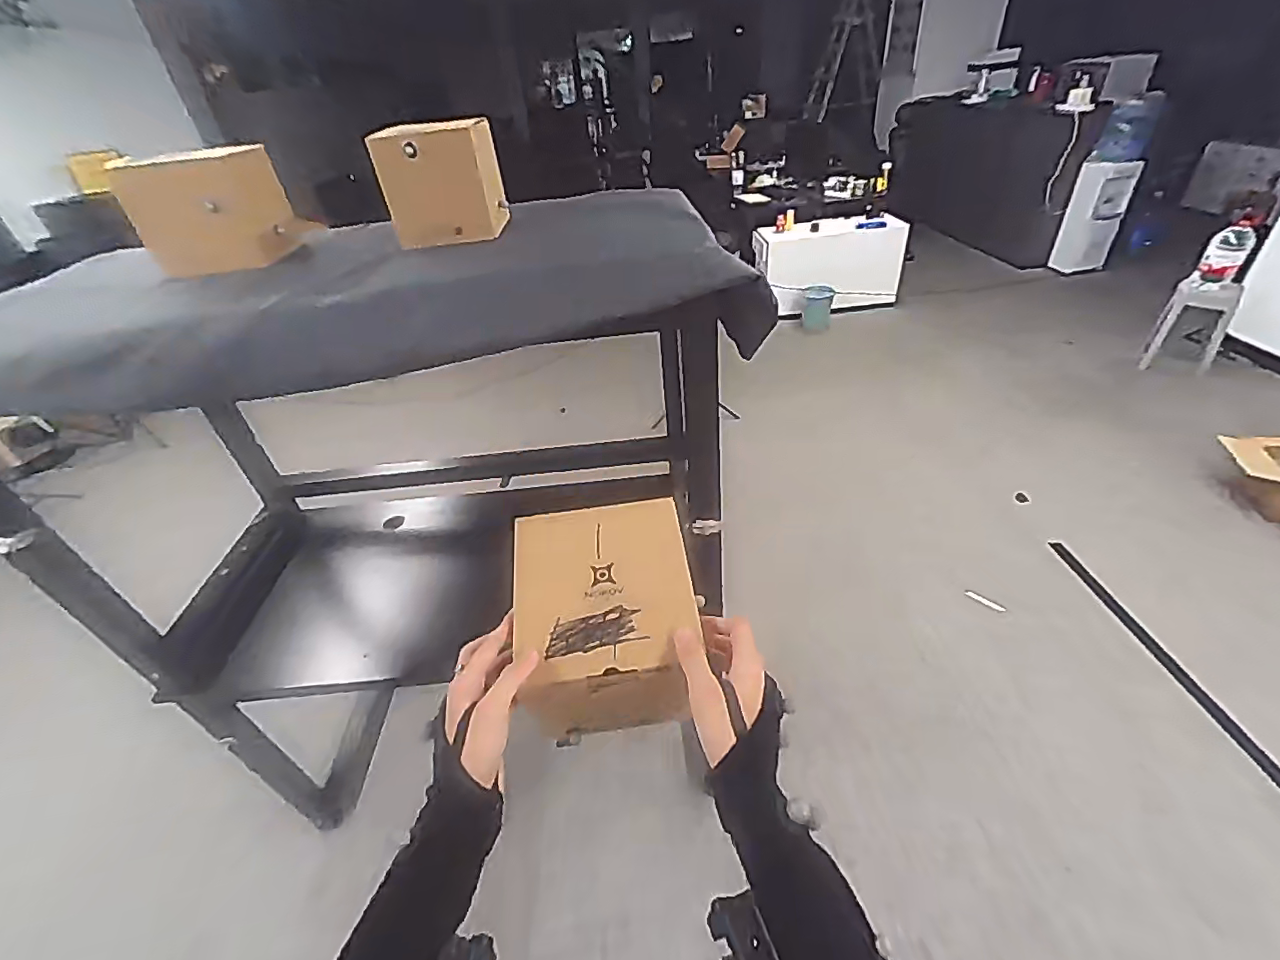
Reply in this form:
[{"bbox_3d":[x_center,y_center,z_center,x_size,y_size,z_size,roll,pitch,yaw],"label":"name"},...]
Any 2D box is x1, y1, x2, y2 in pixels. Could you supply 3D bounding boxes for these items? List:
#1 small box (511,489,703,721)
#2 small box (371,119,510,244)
[{"bbox_3d":[-0.031,0.136,0.561,0.168,0.176,0.179,-7,50,-3],"label":"small box"},{"bbox_3d":[-0.335,-0.526,0.952,0.168,0.176,0.179,-6,36,1],"label":"small box"}]
